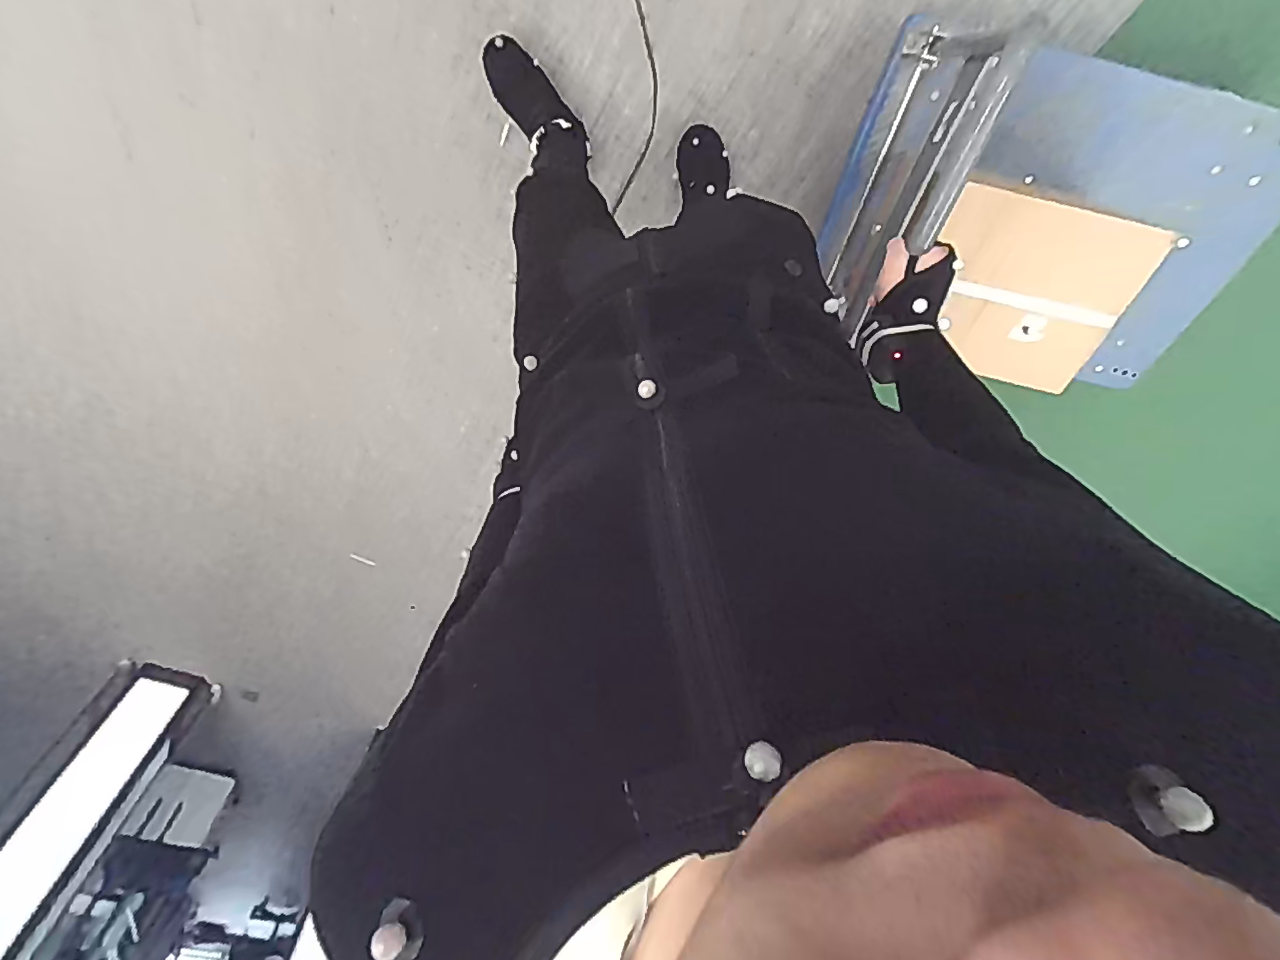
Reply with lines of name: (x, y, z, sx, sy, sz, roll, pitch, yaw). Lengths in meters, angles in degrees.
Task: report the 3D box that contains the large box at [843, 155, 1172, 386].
large box: (0.690, -0.438, 1.110, 0.408, 0.320, 0.320, 14, 129, -1)
